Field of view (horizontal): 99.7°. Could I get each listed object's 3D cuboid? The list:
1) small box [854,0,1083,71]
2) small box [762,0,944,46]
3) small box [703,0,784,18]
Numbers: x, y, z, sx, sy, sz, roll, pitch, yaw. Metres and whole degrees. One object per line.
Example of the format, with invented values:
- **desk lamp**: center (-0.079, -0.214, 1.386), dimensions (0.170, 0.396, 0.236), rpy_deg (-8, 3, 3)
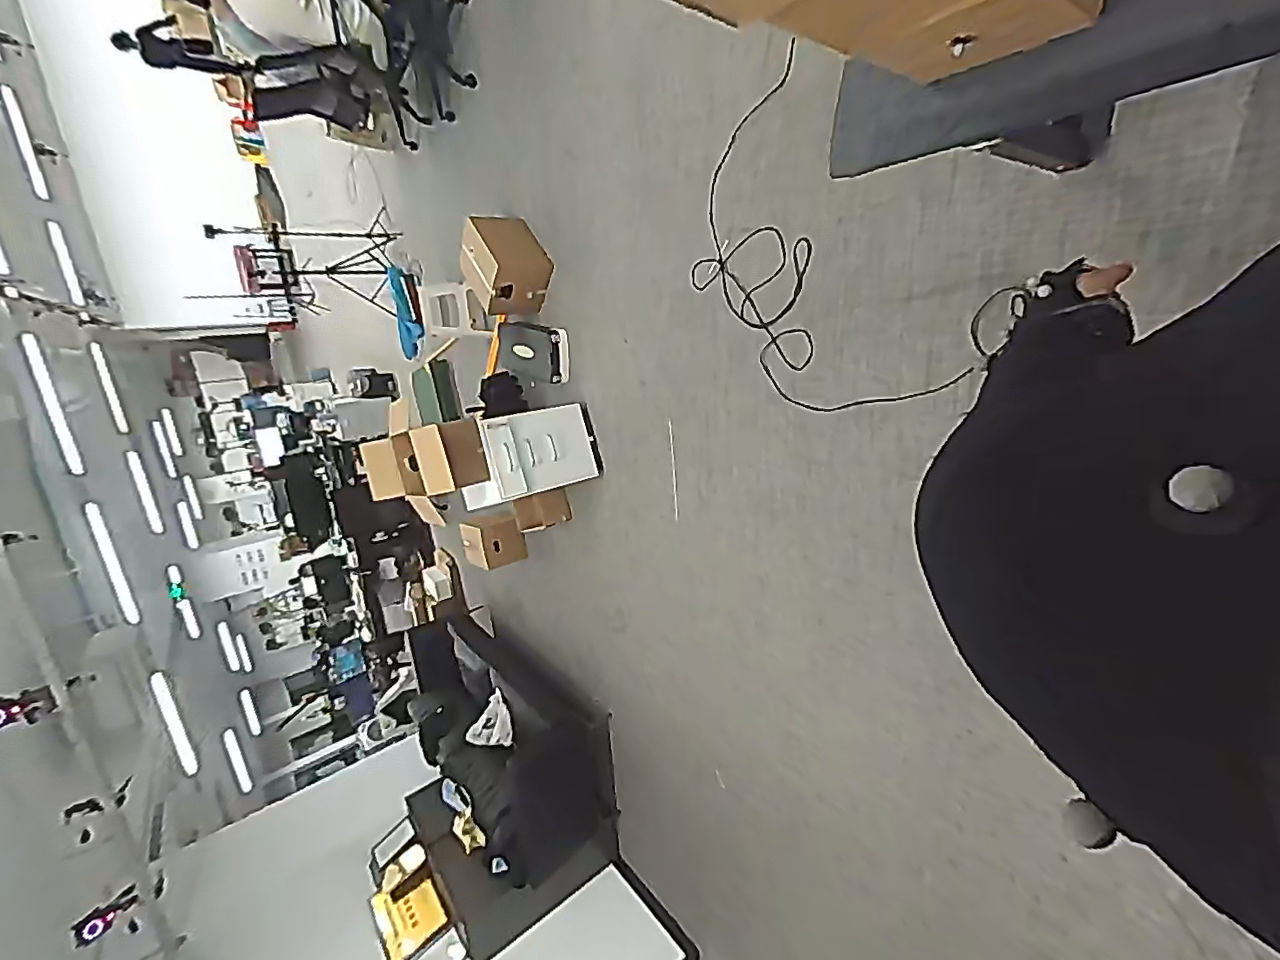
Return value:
- **small box**: center (0.343, -0.548, 0.543), dimensions (0.179, 0.176, 0.168), rpy_deg (19, 118, 50)
- **small box**: center (0.206, -0.515, 0.461), dimensions (0.179, 0.176, 0.168), rpy_deg (11, 113, 51)
- **small box**: center (0.080, -0.465, 0.368), dimensions (0.179, 0.176, 0.168), rpy_deg (15, 115, 50)
